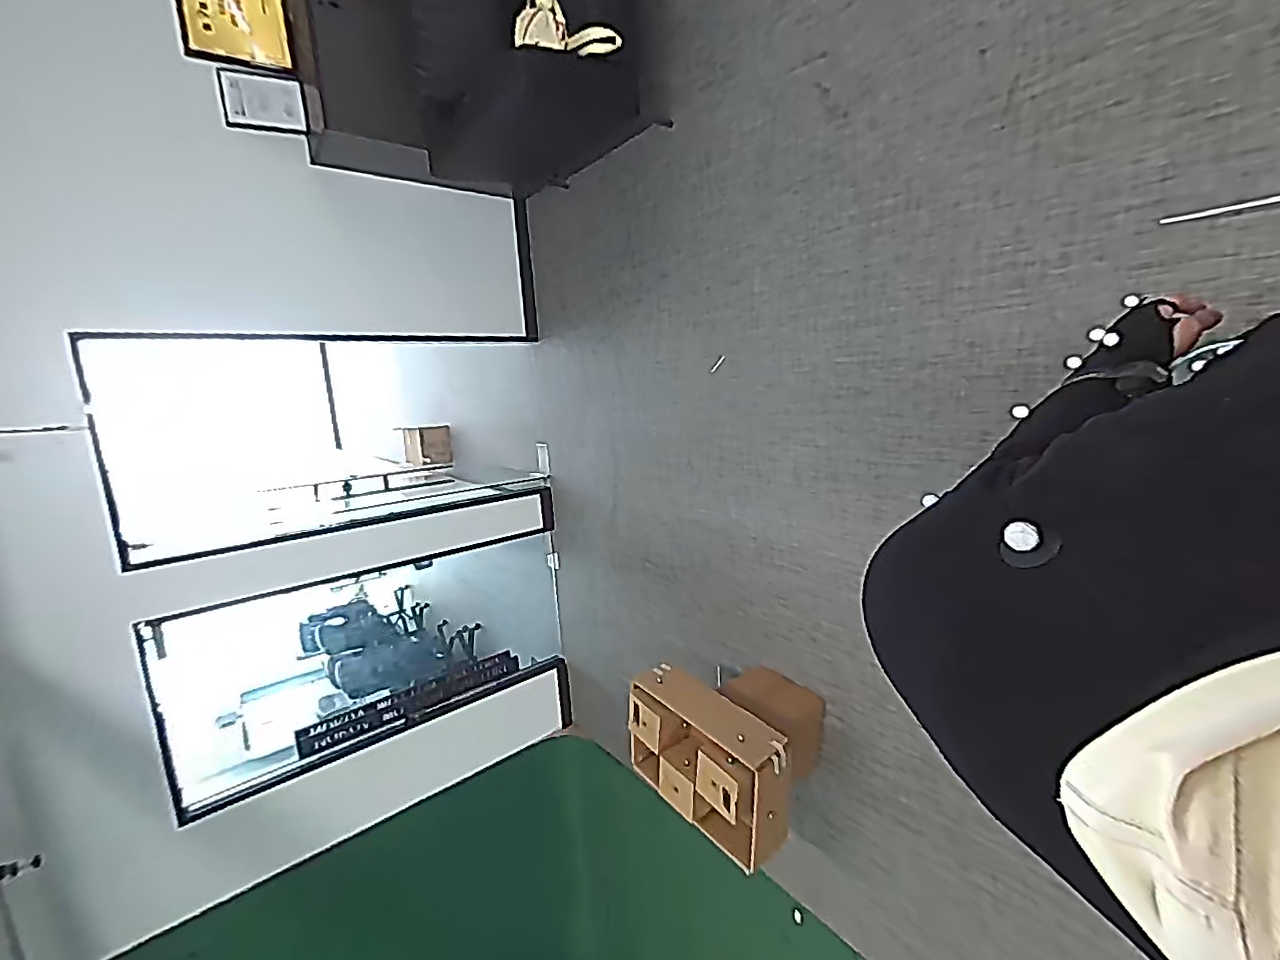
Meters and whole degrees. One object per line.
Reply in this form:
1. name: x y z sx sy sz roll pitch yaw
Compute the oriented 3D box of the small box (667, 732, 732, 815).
1. small box: 0.215 1.049 1.952 0.179 0.176 0.168 16 111 49
